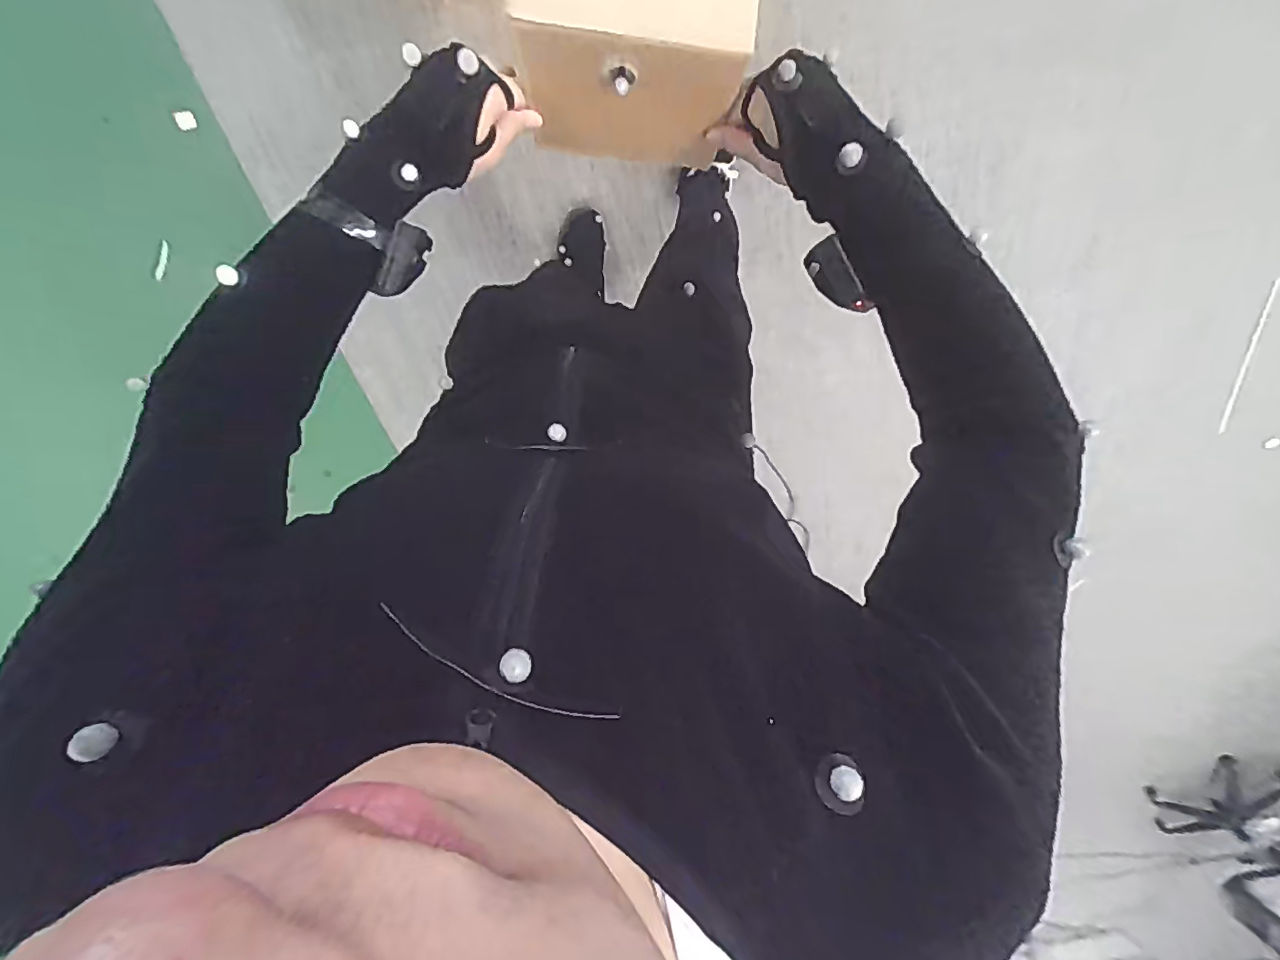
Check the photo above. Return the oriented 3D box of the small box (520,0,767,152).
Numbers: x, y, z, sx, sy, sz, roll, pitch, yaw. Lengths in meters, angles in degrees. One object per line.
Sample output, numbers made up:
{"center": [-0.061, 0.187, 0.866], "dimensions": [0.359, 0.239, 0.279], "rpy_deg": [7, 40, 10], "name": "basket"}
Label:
{"center": [0.005, -0.404, 0.448], "dimensions": [0.179, 0.176, 0.168], "rpy_deg": [6, 94, -4], "name": "small box"}
